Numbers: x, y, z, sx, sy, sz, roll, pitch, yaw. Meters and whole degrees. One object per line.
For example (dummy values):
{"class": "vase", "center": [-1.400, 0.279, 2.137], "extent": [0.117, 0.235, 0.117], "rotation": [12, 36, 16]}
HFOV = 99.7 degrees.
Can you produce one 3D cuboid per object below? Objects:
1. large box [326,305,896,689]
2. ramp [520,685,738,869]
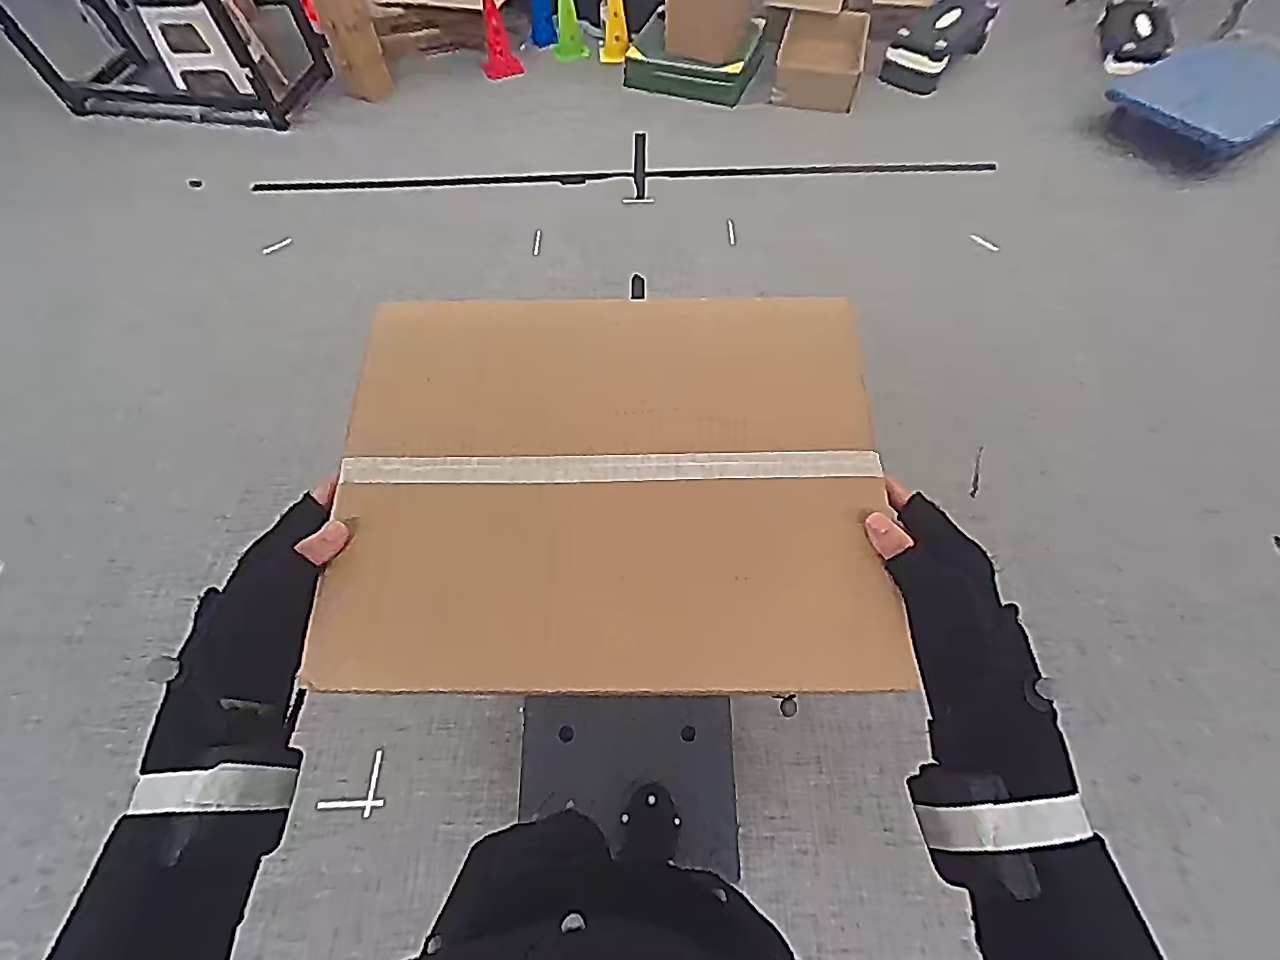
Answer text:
{"class": "large box", "center": [-0.019, 0.047, 0.562], "extent": [0.408, 0.320, 0.320], "rotation": [-1, 68, 1]}
{"class": "ramp", "center": [-0.026, 0.384, 1.351], "extent": [0.509, 0.206, 0.991], "rotation": [-2, 61, -1]}
